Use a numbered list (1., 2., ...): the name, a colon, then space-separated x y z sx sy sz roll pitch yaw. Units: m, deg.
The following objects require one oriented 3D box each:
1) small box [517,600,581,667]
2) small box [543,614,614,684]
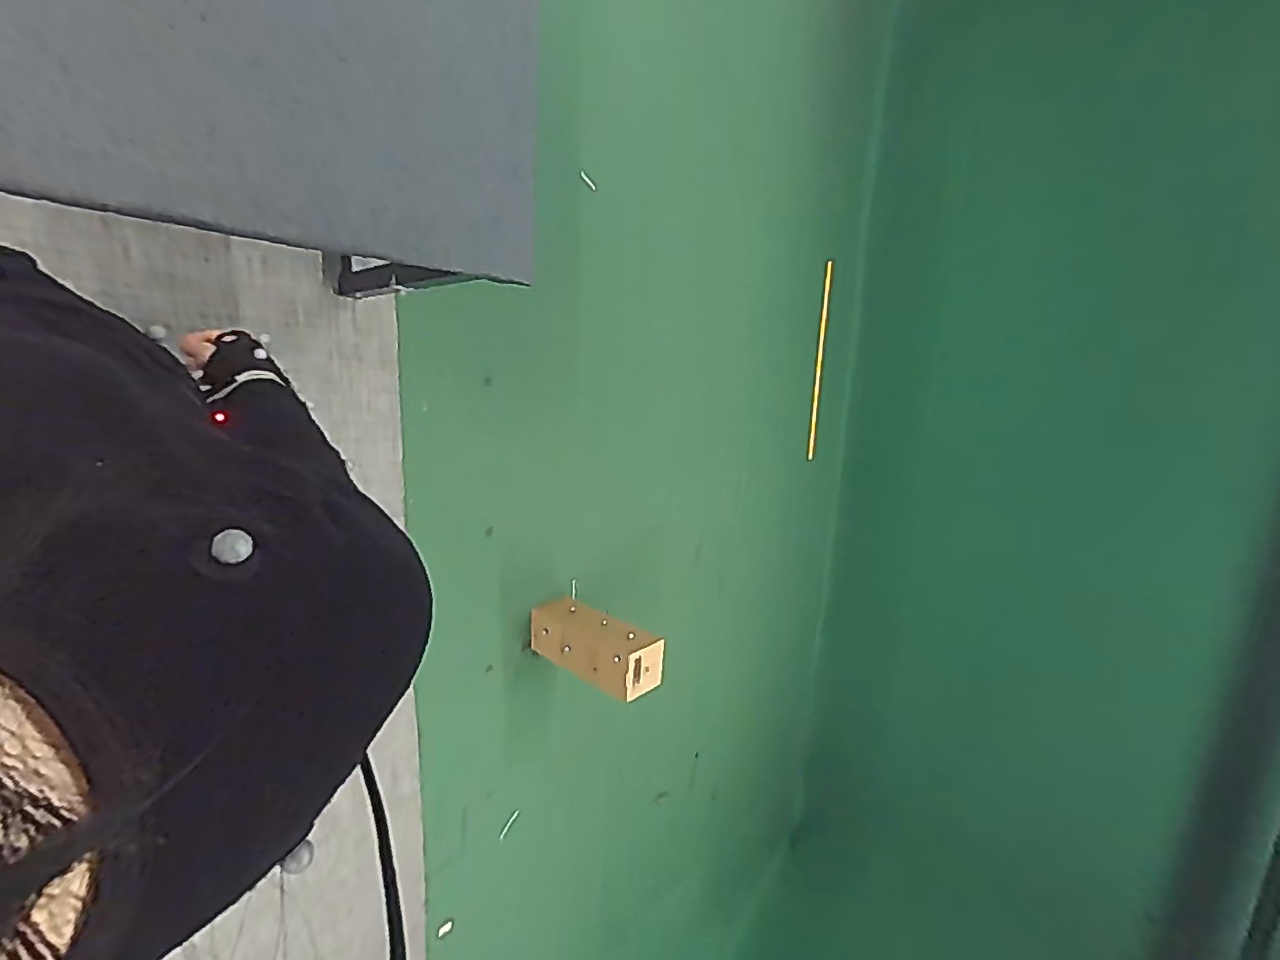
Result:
1. small box: -0.342 0.564 2.013 0.179 0.176 0.168 -9 105 -49
2. small box: -0.217 0.587 1.907 0.179 0.176 0.168 -5 102 -49
